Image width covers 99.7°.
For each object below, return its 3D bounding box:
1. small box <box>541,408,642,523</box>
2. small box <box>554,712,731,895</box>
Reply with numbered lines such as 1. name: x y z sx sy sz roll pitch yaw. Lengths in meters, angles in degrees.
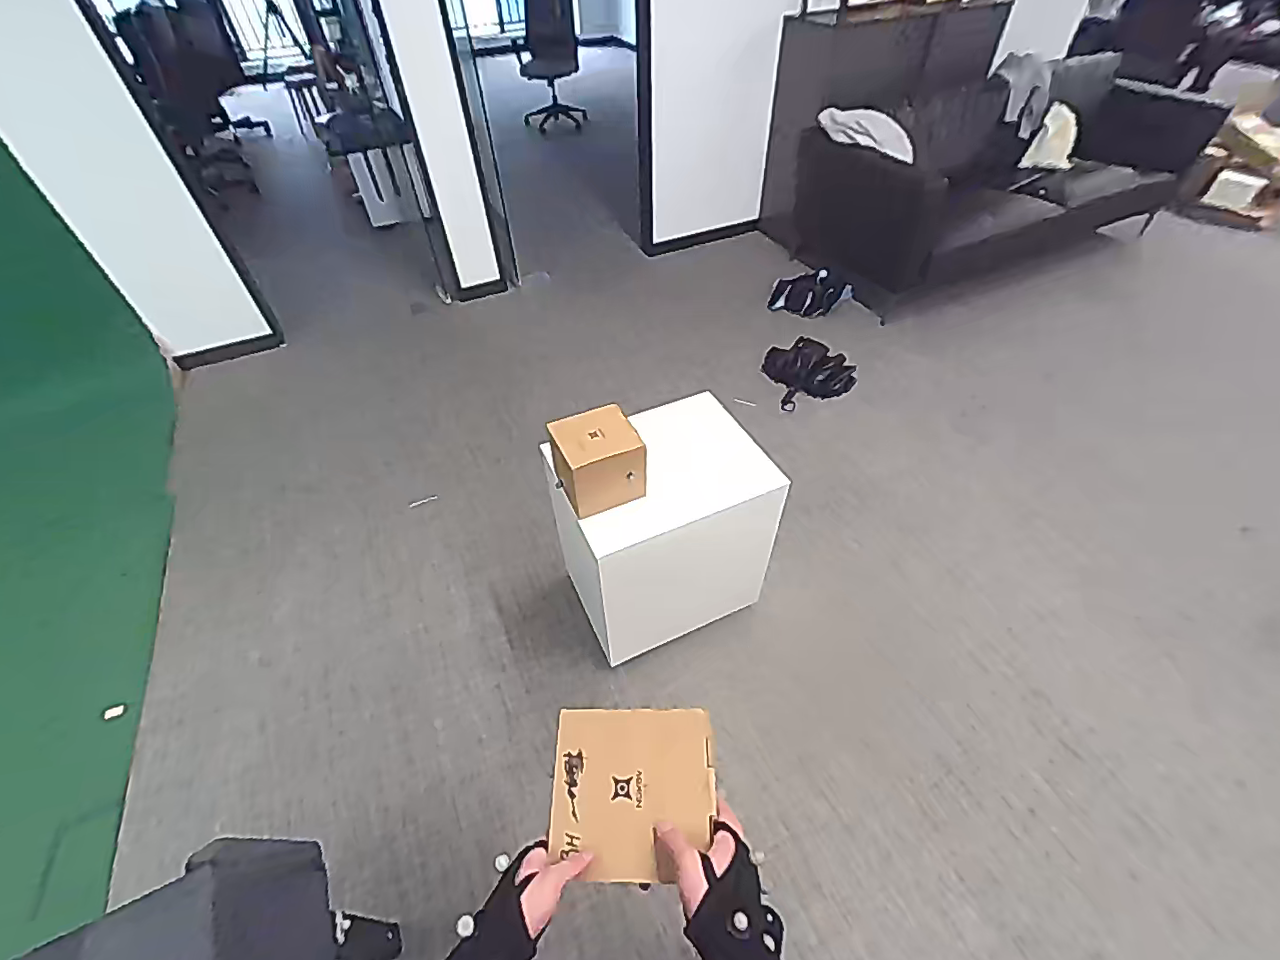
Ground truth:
1. small box: -0.110 -0.032 1.232 0.179 0.176 0.168 -20 48 -20
2. small box: 0.008 0.375 0.636 0.179 0.176 0.168 -2 57 4
